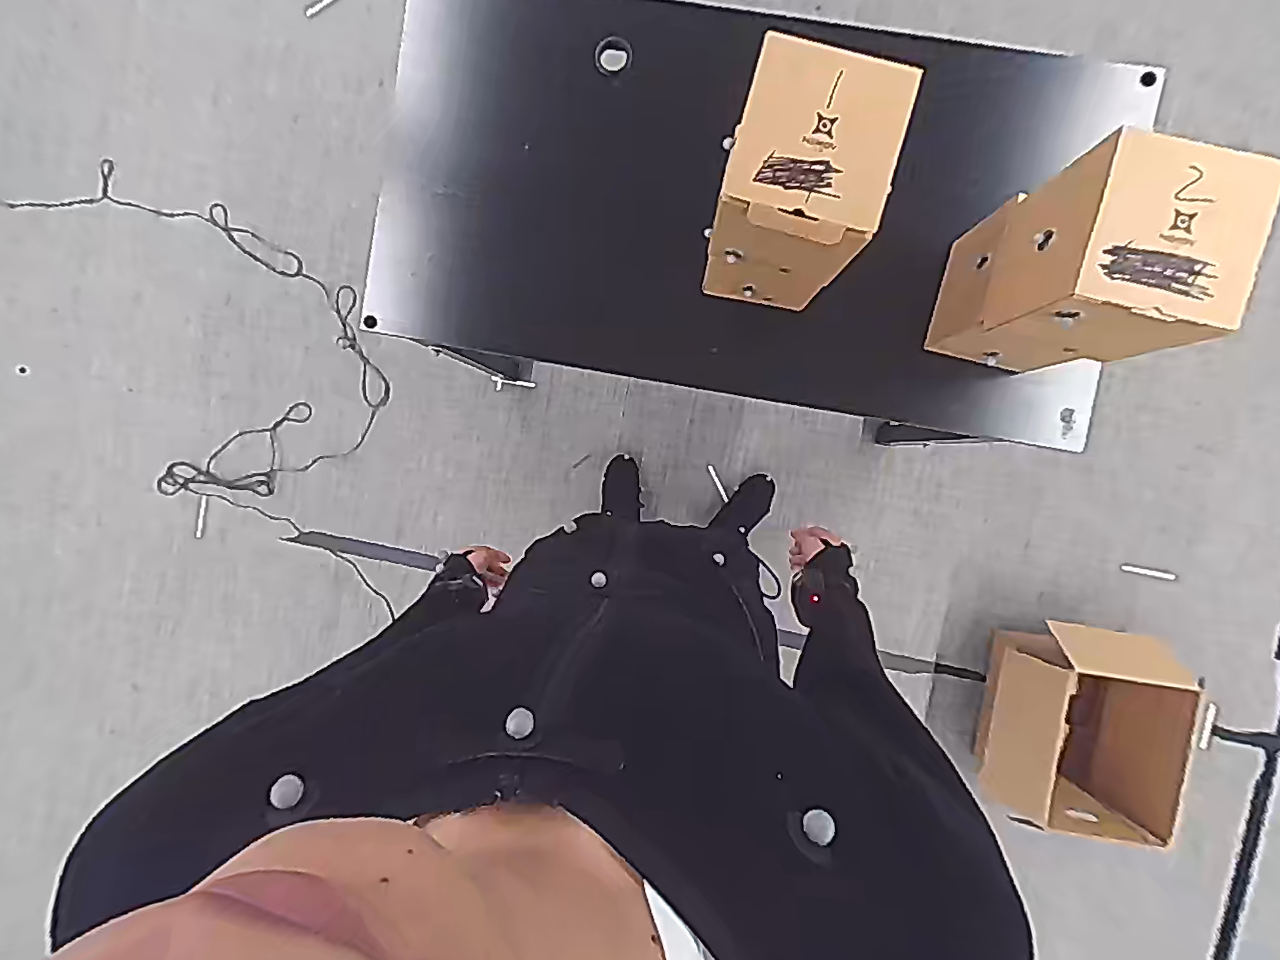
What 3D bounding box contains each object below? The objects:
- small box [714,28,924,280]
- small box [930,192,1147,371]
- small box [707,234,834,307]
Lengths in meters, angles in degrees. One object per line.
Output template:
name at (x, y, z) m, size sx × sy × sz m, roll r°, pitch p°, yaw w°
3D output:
small box at (0.188, -0.356, 0.627) m, size 0.168 × 0.176 × 0.179 m, roll 16°, pitch 93°, yaw 1°
small box at (0.551, -0.270, 0.775) m, size 0.168 × 0.176 × 0.179 m, roll 15°, pitch 93°, yaw 3°
small box at (0.196, -0.373, 0.791) m, size 0.168 × 0.176 × 0.179 m, roll 11°, pitch 94°, yaw 2°
